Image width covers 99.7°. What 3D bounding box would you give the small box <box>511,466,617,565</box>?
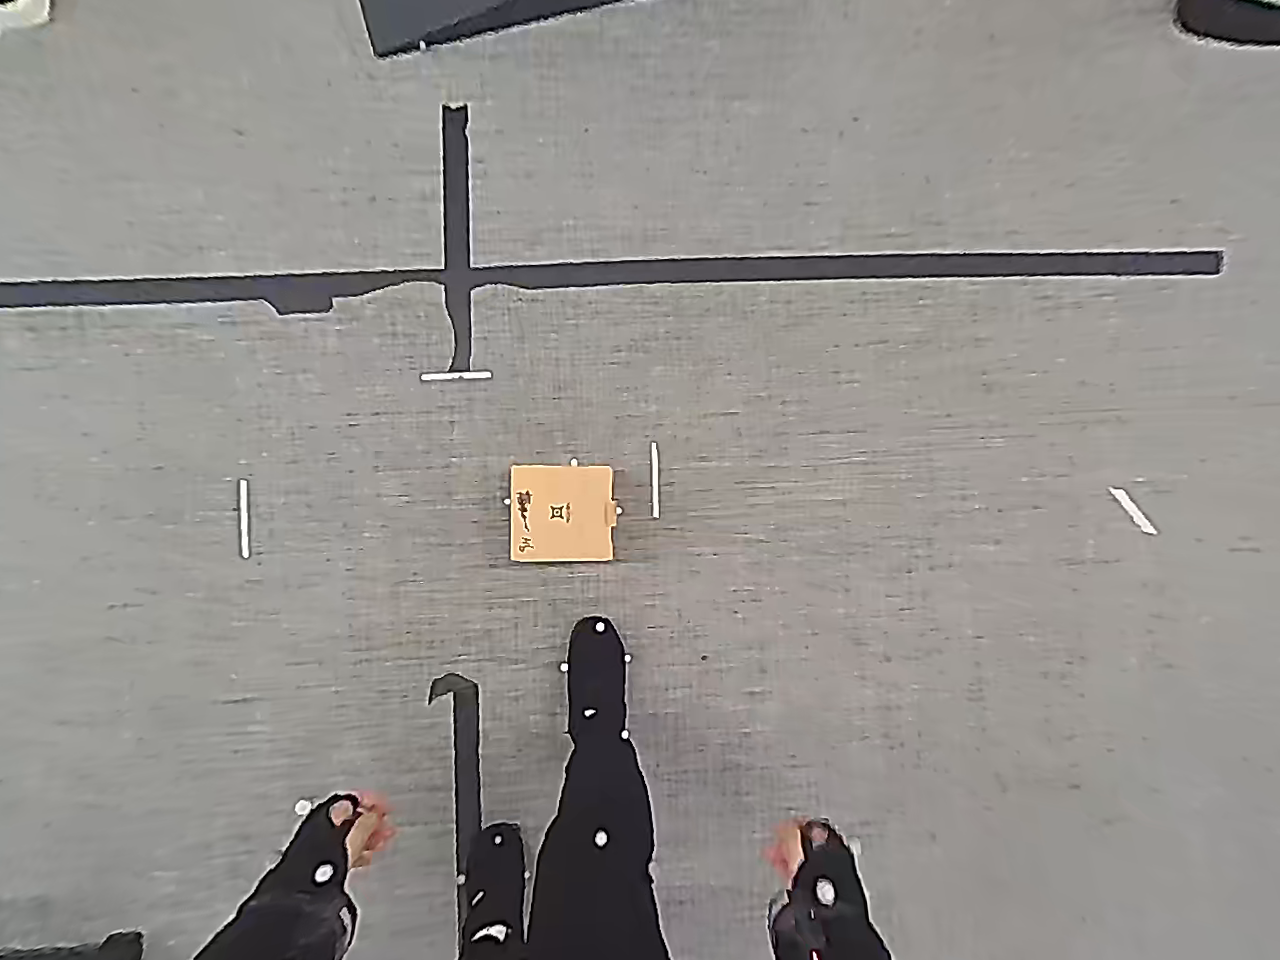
[{"bbox_3d":[-0.135,0.059,0.988,0.179,0.176,0.168,1,90,-4],"label":"small box"}]
